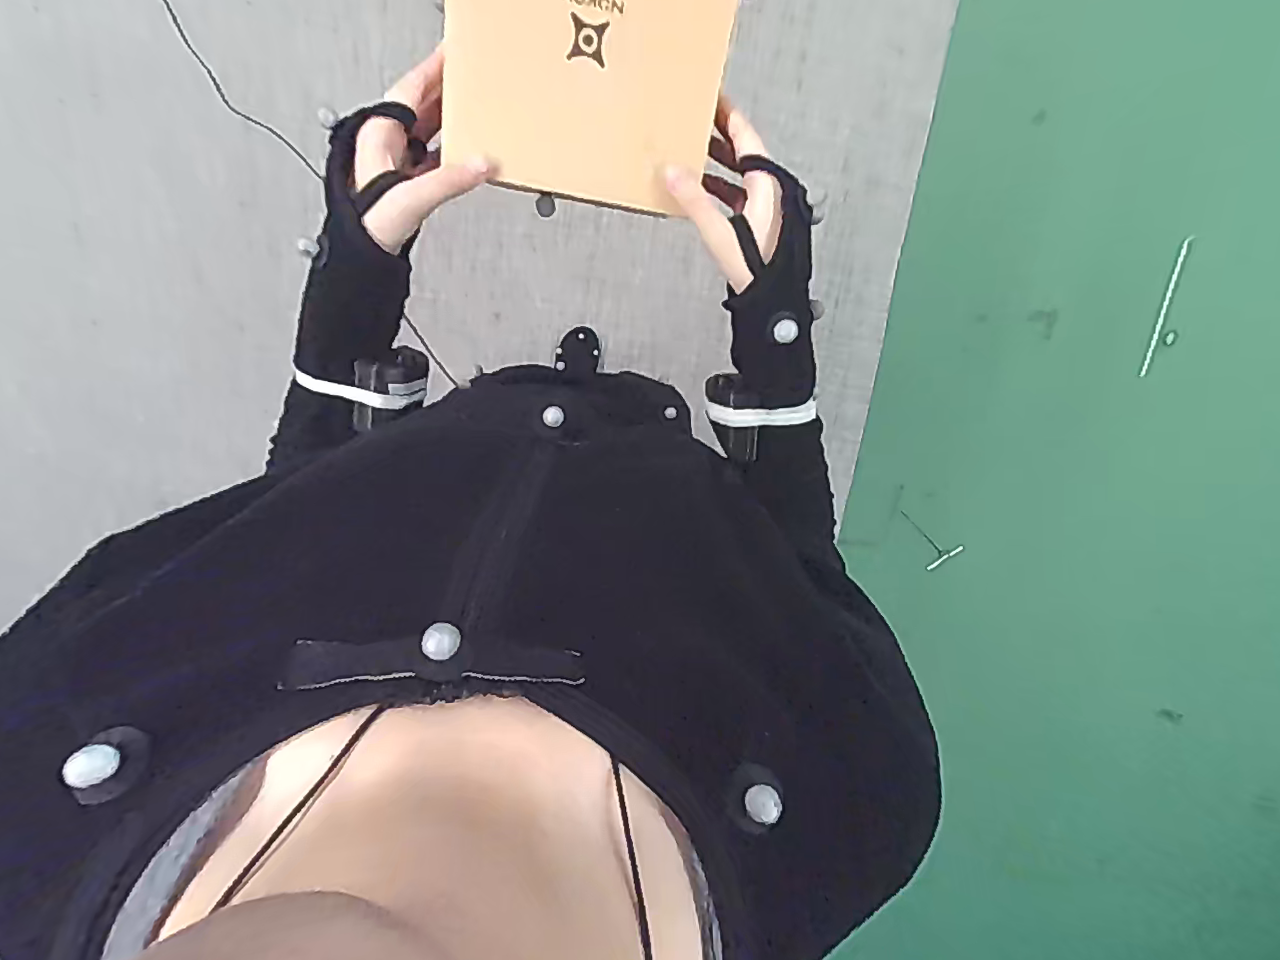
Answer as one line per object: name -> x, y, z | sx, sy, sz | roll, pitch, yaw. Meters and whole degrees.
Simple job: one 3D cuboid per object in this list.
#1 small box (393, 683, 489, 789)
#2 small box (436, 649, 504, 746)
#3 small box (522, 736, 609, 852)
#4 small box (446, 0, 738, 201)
small box -> -0.500, 0.647, 1.381 | 0.179, 0.176, 0.168 | 16, 101, -9
small box -> -0.496, 0.616, 1.544 | 0.168, 0.176, 0.179 | 16, 101, -8
small box -> -0.168, 0.718, 1.251 | 0.179, 0.176, 0.168 | 6, 103, -6
small box -> -0.030, -0.308, 0.383 | 0.168, 0.176, 0.179 | 7, 114, -8
